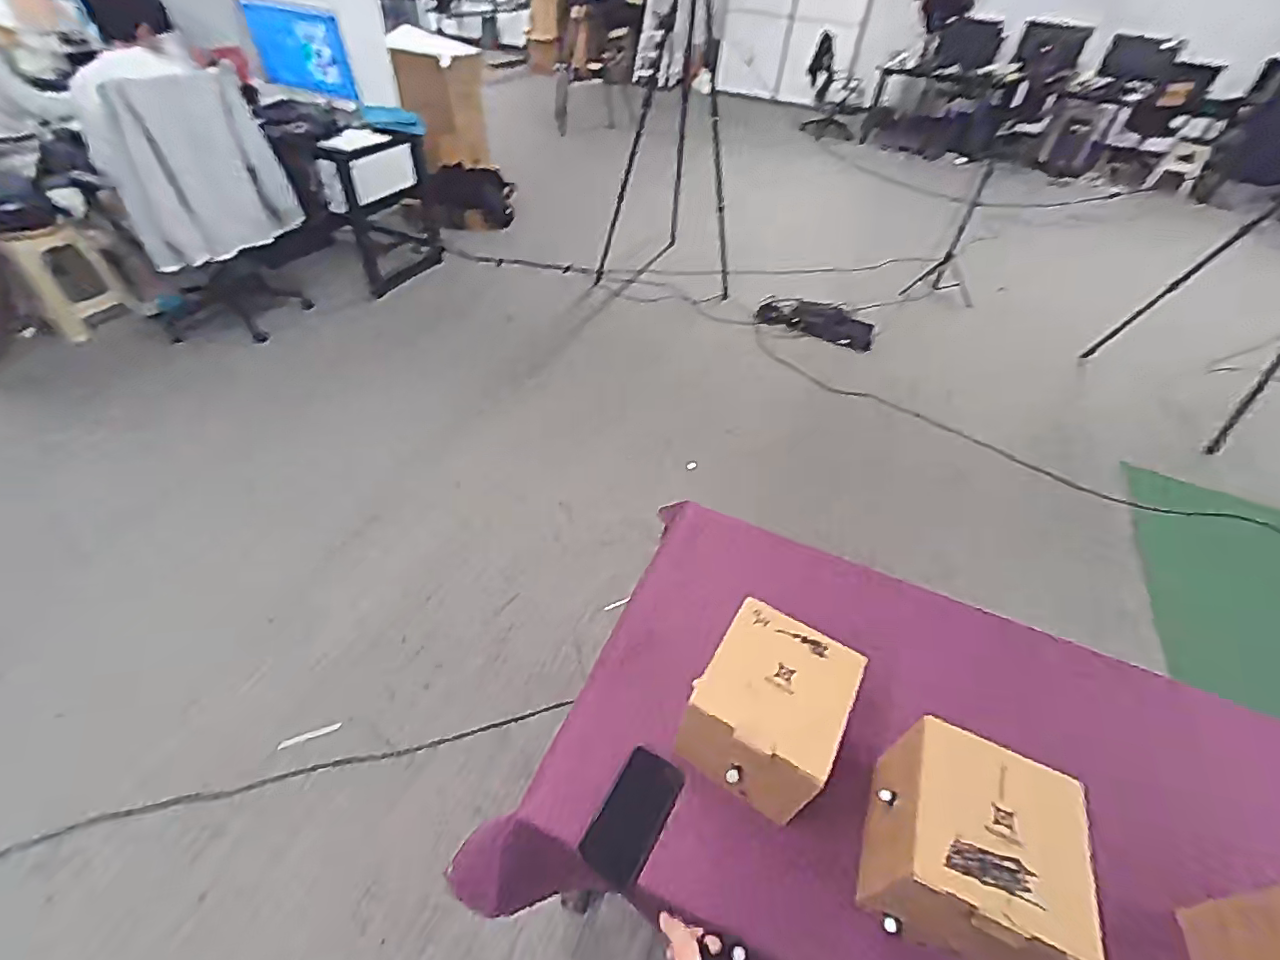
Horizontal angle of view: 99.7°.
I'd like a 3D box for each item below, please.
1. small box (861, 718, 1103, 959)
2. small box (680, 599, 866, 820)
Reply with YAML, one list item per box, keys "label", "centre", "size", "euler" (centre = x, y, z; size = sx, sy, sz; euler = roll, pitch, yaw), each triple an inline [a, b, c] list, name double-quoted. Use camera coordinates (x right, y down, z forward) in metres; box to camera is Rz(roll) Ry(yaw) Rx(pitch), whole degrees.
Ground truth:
- label: "small box"
  centre: [0.363, 0.412, 0.603]
  size: [0.168, 0.176, 0.179]
  euler: [21, 46, 15]
- label: "small box"
  centre: [0.163, 0.298, 0.702]
  size: [0.168, 0.176, 0.179]
  euler: [26, 49, 20]
